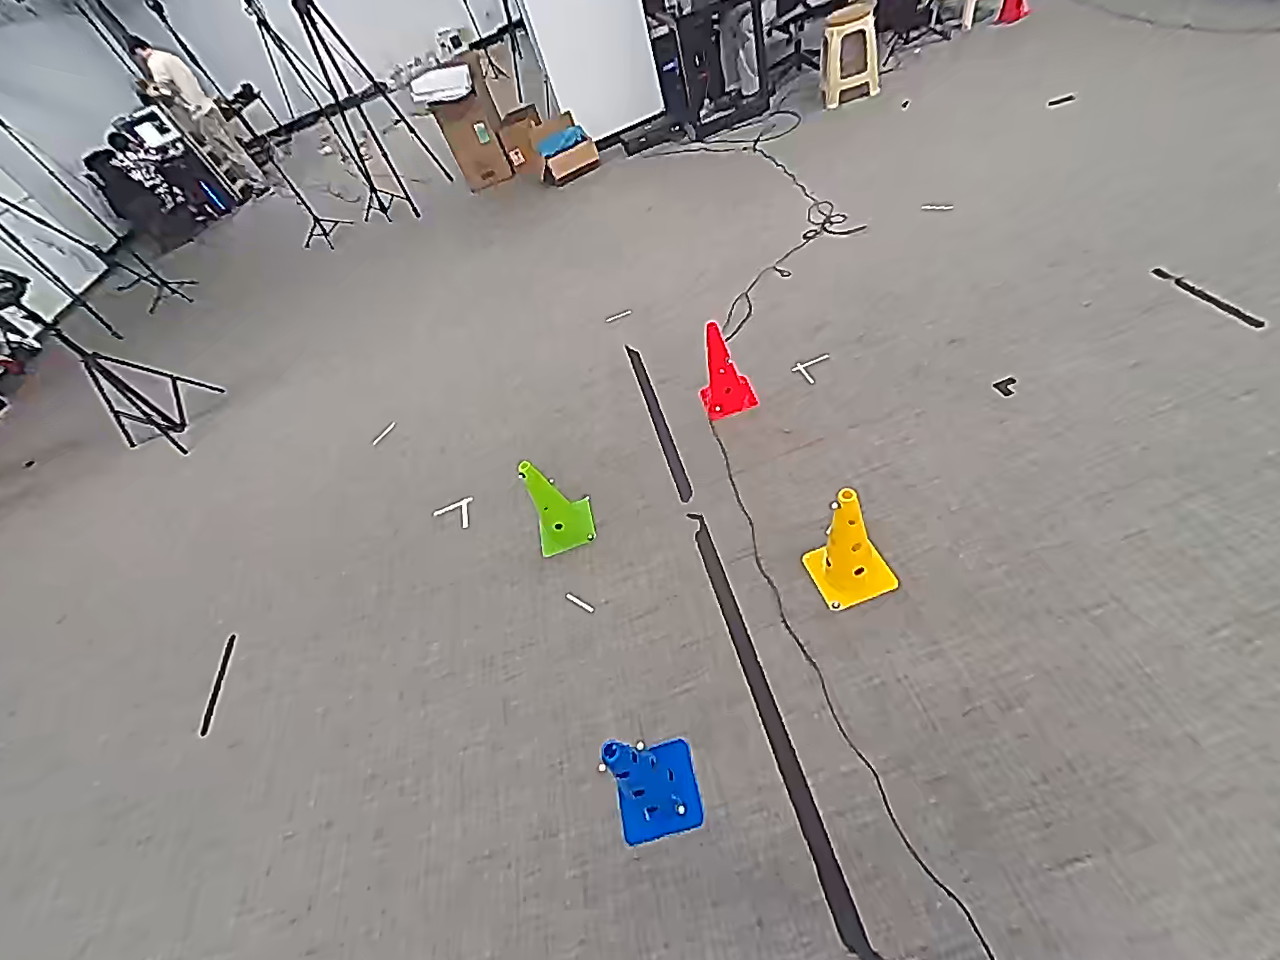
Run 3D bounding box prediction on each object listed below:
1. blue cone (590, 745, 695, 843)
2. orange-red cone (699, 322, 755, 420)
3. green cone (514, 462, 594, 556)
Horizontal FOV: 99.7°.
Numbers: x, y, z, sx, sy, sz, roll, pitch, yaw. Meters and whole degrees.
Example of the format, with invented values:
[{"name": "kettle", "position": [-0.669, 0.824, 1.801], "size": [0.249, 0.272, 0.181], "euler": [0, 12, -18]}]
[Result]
[{"name": "blue cone", "position": [-0.017, 0.663, 1.210], "size": [0.192, 0.380, 0.193], "euler": [-19, 46, 7]}, {"name": "orange-red cone", "position": [0.297, -0.433, 2.022], "size": [0.199, 0.360, 0.198], "euler": [-17, 48, 6]}, {"name": "green cone", "position": [-0.323, 0.061, 1.835], "size": [0.202, 0.368, 0.200], "euler": [-22, 46, 5]}]
